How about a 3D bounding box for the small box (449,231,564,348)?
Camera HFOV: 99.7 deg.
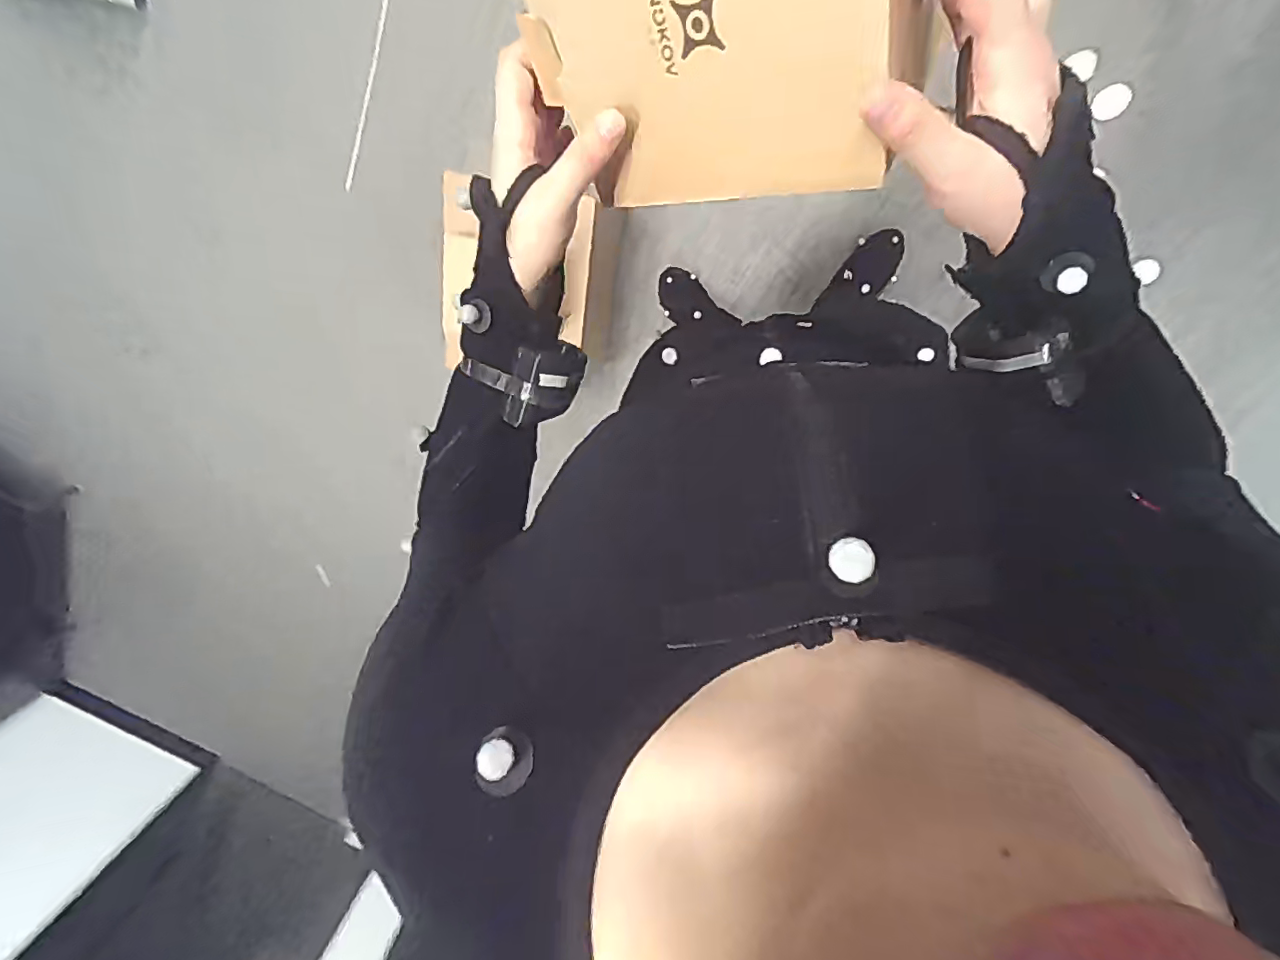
[{"bbox_3d":[-0.255,-0.375,1.050,0.168,0.176,0.179,13,117,4],"label":"small box"}]
